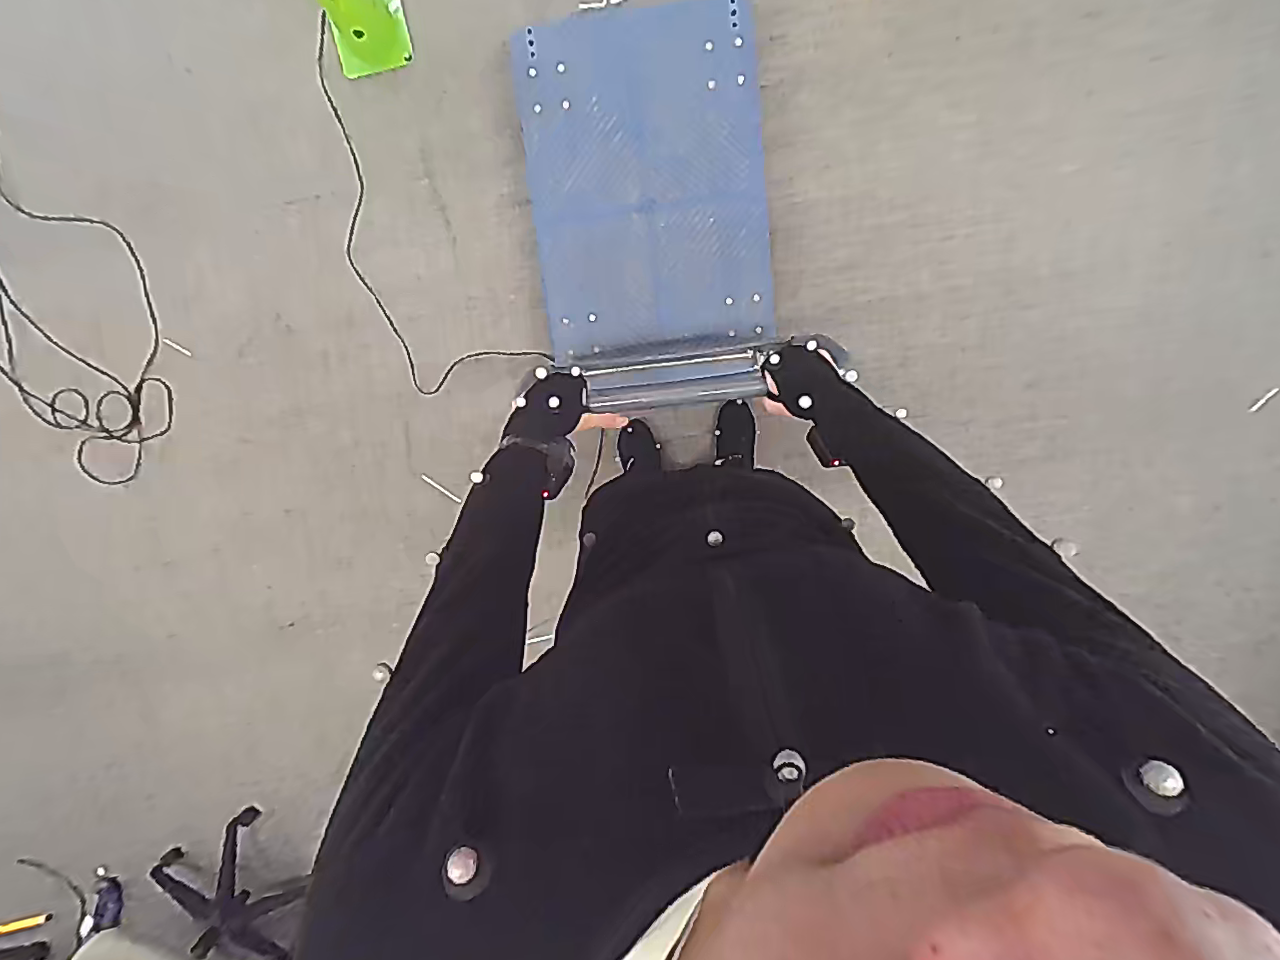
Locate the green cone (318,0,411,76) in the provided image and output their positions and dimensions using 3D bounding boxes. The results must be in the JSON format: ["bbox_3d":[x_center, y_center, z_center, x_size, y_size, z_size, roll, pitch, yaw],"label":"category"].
[{"bbox_3d":[-0.729,-1.165,1.258,0.202,0.368,0.200,-12,99,6],"label":"green cone"}]
